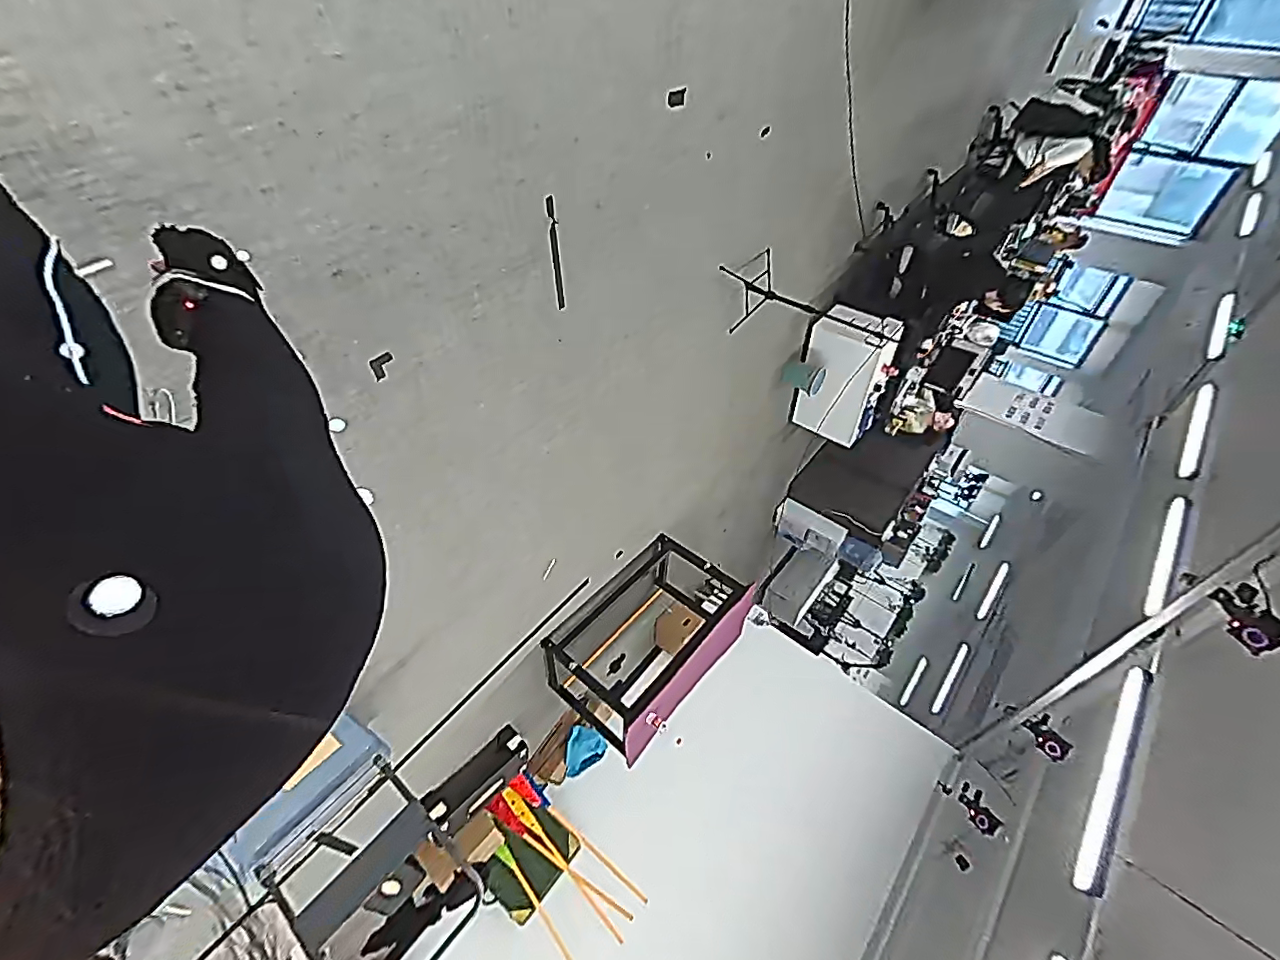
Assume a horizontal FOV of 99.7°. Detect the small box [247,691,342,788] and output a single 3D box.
[{"bbox_3d":[-1.069,0.795,1.667,0.179,0.176,0.168,-40,148,-34],"label":"small box"}]
